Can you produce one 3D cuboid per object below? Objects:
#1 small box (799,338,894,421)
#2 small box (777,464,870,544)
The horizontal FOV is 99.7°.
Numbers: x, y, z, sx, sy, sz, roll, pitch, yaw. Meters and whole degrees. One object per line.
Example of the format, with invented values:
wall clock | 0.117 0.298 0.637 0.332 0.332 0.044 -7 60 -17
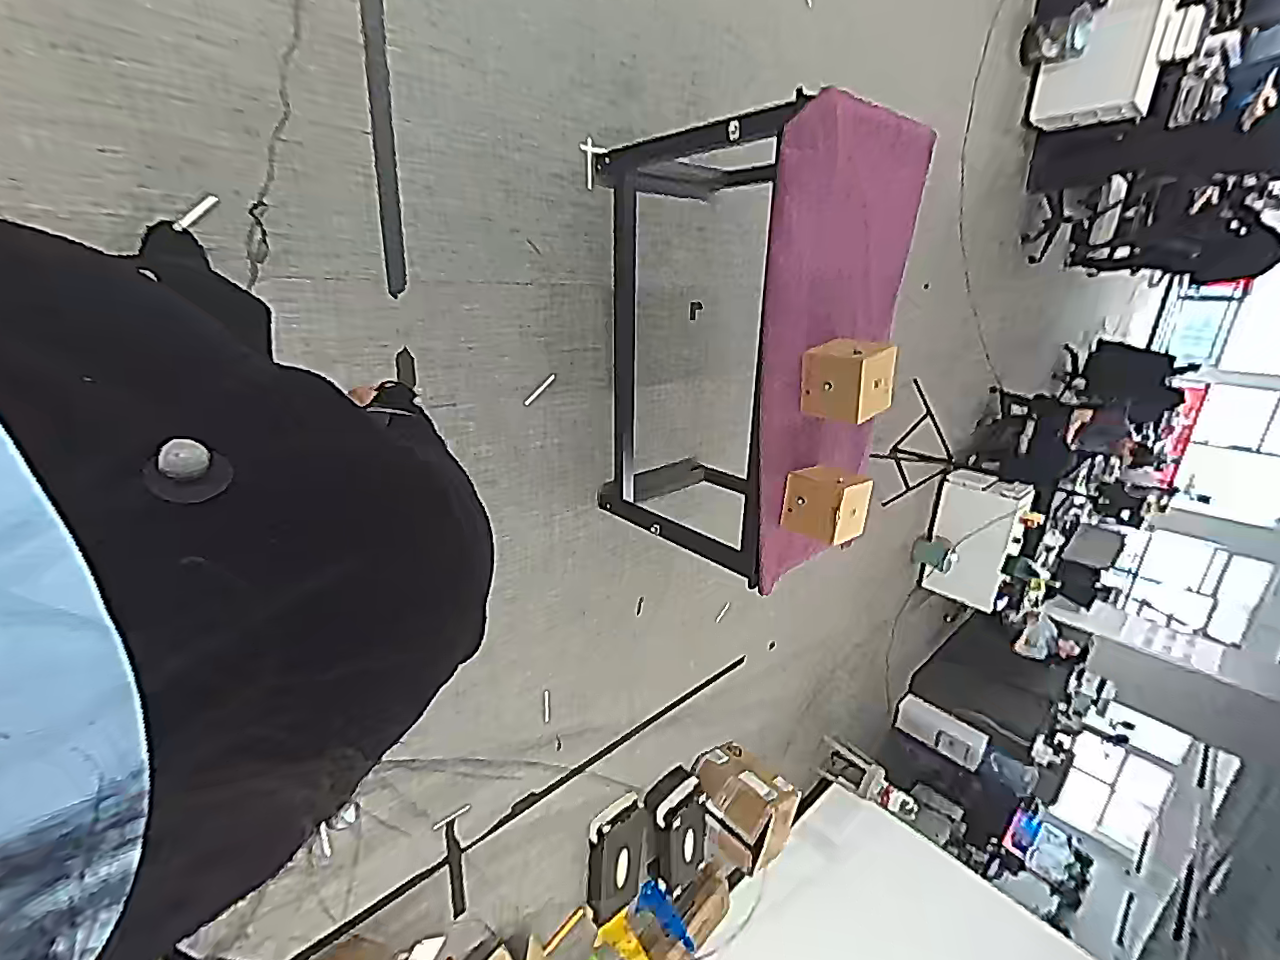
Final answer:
small box | 0.533 -0.268 1.413 0.179 0.176 0.168 -26 123 -36
small box | 0.514 0.060 1.521 0.179 0.176 0.168 -11 113 -42
